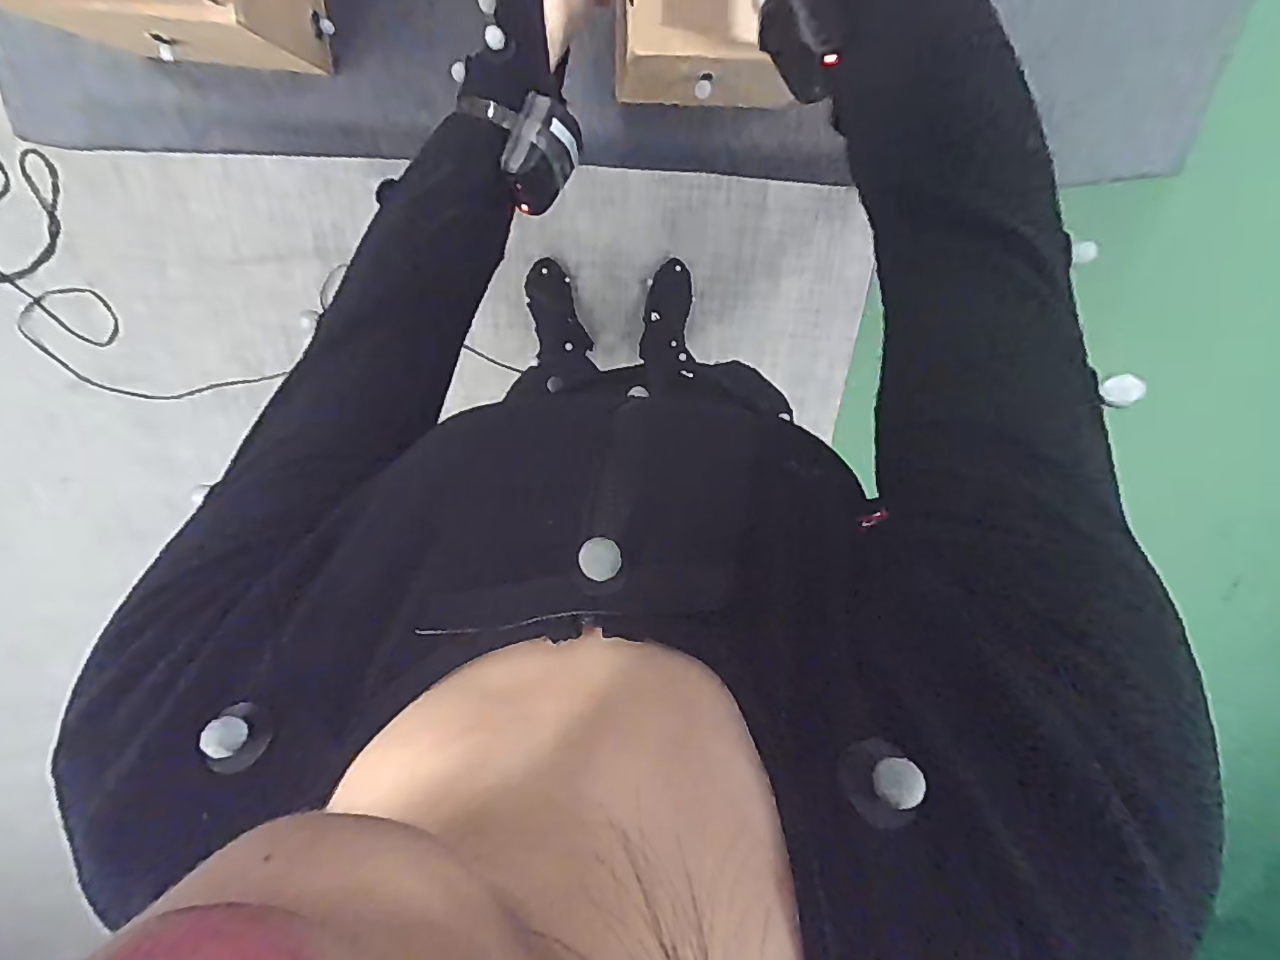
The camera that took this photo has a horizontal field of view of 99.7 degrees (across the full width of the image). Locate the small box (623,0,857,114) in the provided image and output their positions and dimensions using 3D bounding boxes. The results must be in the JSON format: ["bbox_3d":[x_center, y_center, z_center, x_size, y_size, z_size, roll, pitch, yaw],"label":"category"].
[{"bbox_3d":[0.073,-0.424,0.458,0.179,0.176,0.168,0,115,-3],"label":"small box"}]

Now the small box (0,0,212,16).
[{"bbox_3d":[-0.364,-0.358,0.265,0.179,0.176,0.168,-3,116,-5],"label":"small box"}]

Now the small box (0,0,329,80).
[{"bbox_3d":[-0.364,-0.427,0.412,0.179,0.176,0.168,2,116,-6],"label":"small box"}]
